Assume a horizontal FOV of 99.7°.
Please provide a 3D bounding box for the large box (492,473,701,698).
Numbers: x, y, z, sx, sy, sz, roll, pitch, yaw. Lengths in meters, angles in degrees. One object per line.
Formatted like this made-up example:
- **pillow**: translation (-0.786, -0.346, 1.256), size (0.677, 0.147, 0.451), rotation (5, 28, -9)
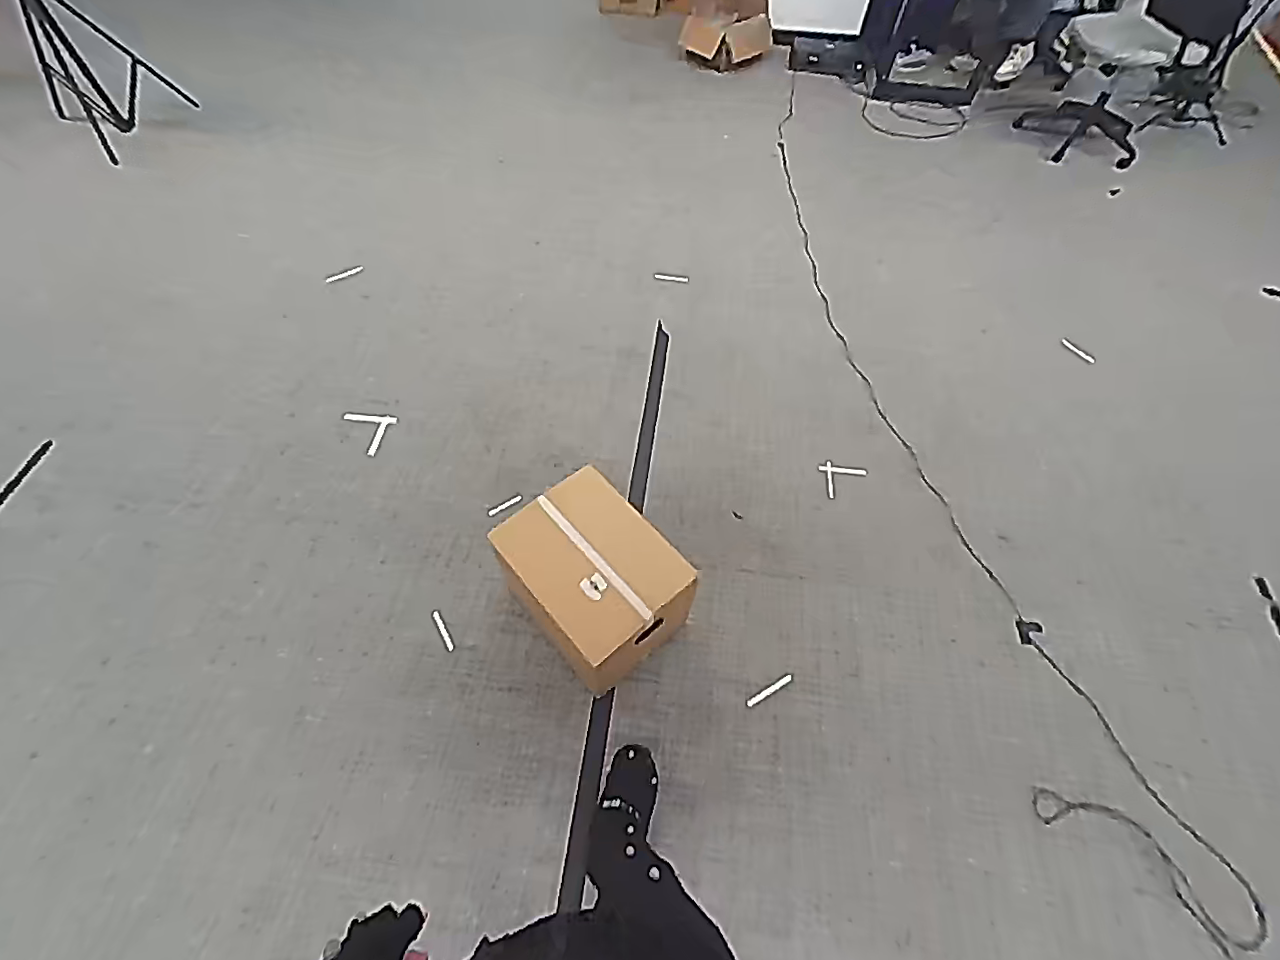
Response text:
- **large box**: translation (-0.114, 0.265, 1.370), size (0.320, 0.320, 0.408), rotation (-36, 66, -23)
